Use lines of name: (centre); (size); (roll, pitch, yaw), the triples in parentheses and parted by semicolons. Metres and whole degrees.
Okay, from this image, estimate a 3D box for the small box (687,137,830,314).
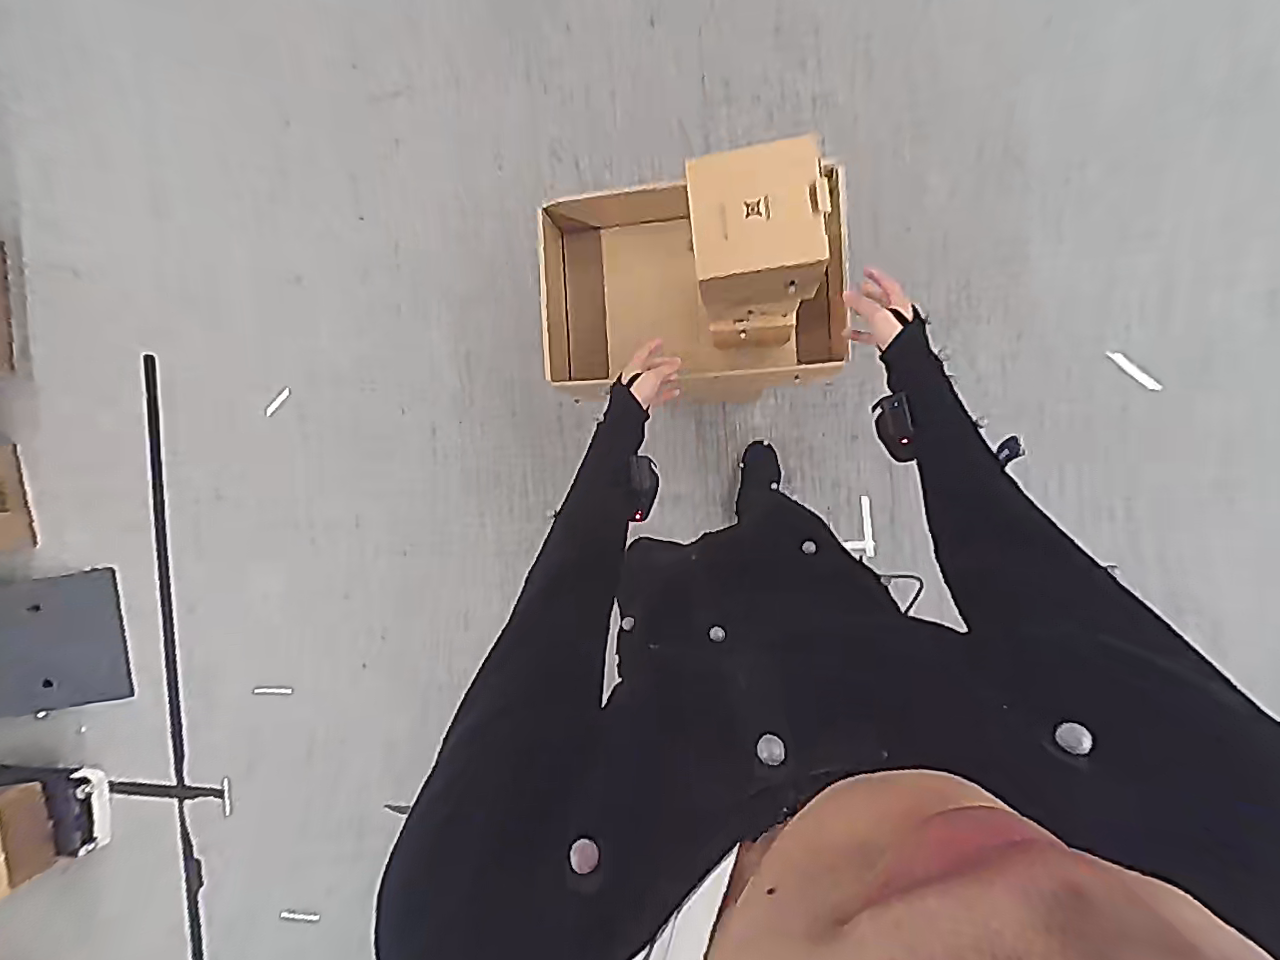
small box: (0.166, -0.355, 0.788); (0.179, 0.176, 0.168); (-6, 90, 10)
